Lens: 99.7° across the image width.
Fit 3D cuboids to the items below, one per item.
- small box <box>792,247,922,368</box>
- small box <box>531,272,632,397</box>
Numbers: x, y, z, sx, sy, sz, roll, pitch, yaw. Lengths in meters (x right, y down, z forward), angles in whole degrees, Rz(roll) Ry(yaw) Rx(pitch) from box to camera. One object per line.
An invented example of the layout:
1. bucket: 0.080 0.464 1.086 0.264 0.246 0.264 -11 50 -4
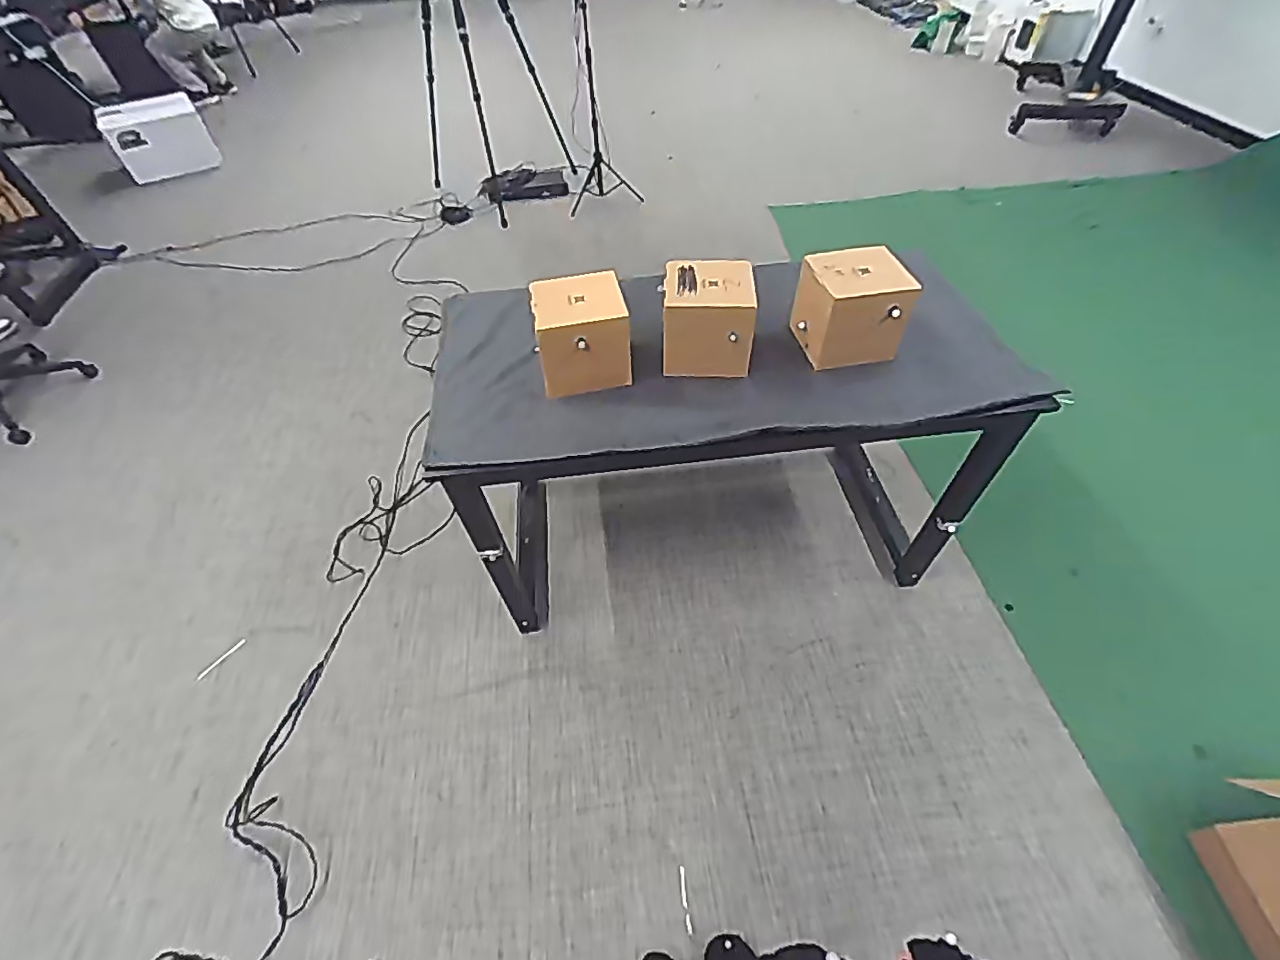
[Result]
1. small box: 0.435 -0.353 1.116 0.179 0.176 0.168 -9 50 -4
2. small box: -0.114 -0.293 1.100 0.179 0.176 0.168 -11 51 -6
